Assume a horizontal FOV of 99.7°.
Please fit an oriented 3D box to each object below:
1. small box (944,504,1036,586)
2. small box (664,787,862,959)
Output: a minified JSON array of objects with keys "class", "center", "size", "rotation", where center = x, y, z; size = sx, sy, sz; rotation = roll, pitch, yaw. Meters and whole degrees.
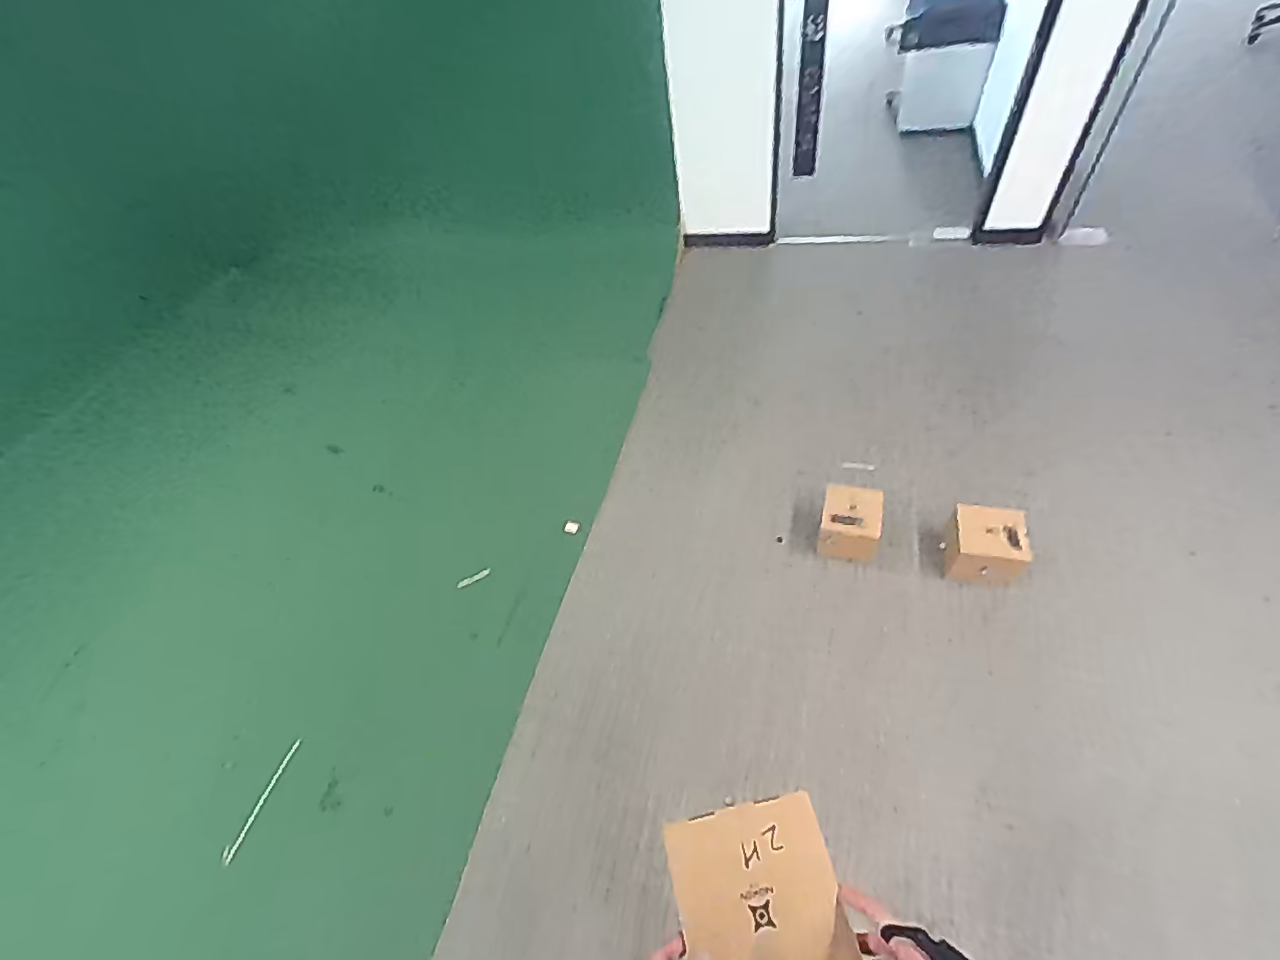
[{"class":"small box","center":[0.999,0.190,1.560],"size":[0.179,0.176,0.168],"rotation":[6,54,17]},{"class":"small box","center":[0.129,0.460,0.605],"size":[0.168,0.176,0.179],"rotation":[-12,57,-1]}]
